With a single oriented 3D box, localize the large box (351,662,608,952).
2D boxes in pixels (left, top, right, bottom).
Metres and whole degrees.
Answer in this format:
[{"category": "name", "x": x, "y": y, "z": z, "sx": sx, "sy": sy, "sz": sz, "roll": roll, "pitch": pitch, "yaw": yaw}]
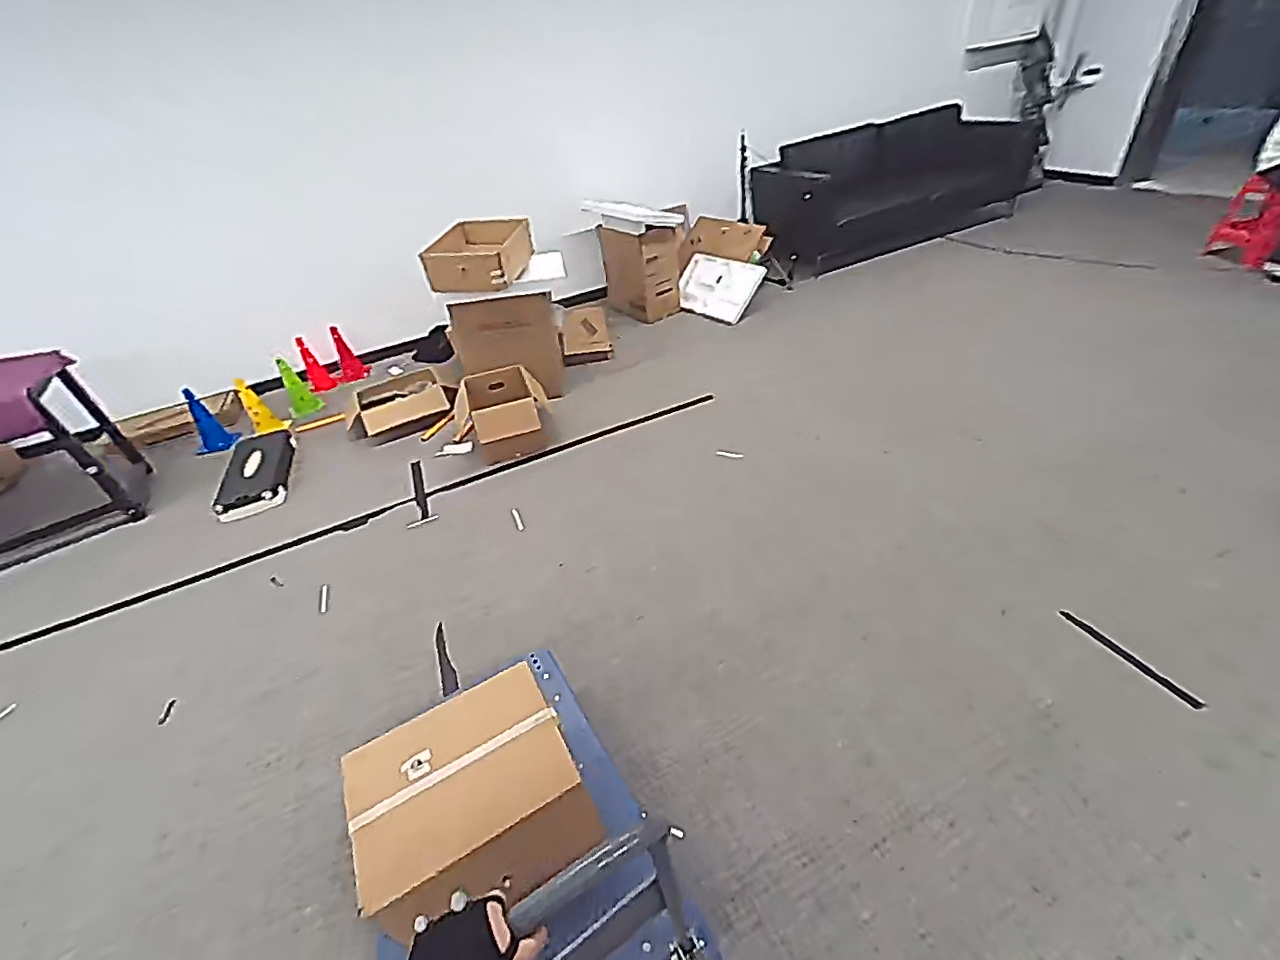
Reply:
[{"category": "large box", "x": -0.330, "y": 0.682, "z": 1.159, "sx": 0.408, "sy": 0.320, "sz": 0.320, "roll": -25, "pitch": 40, "yaw": -18}]
